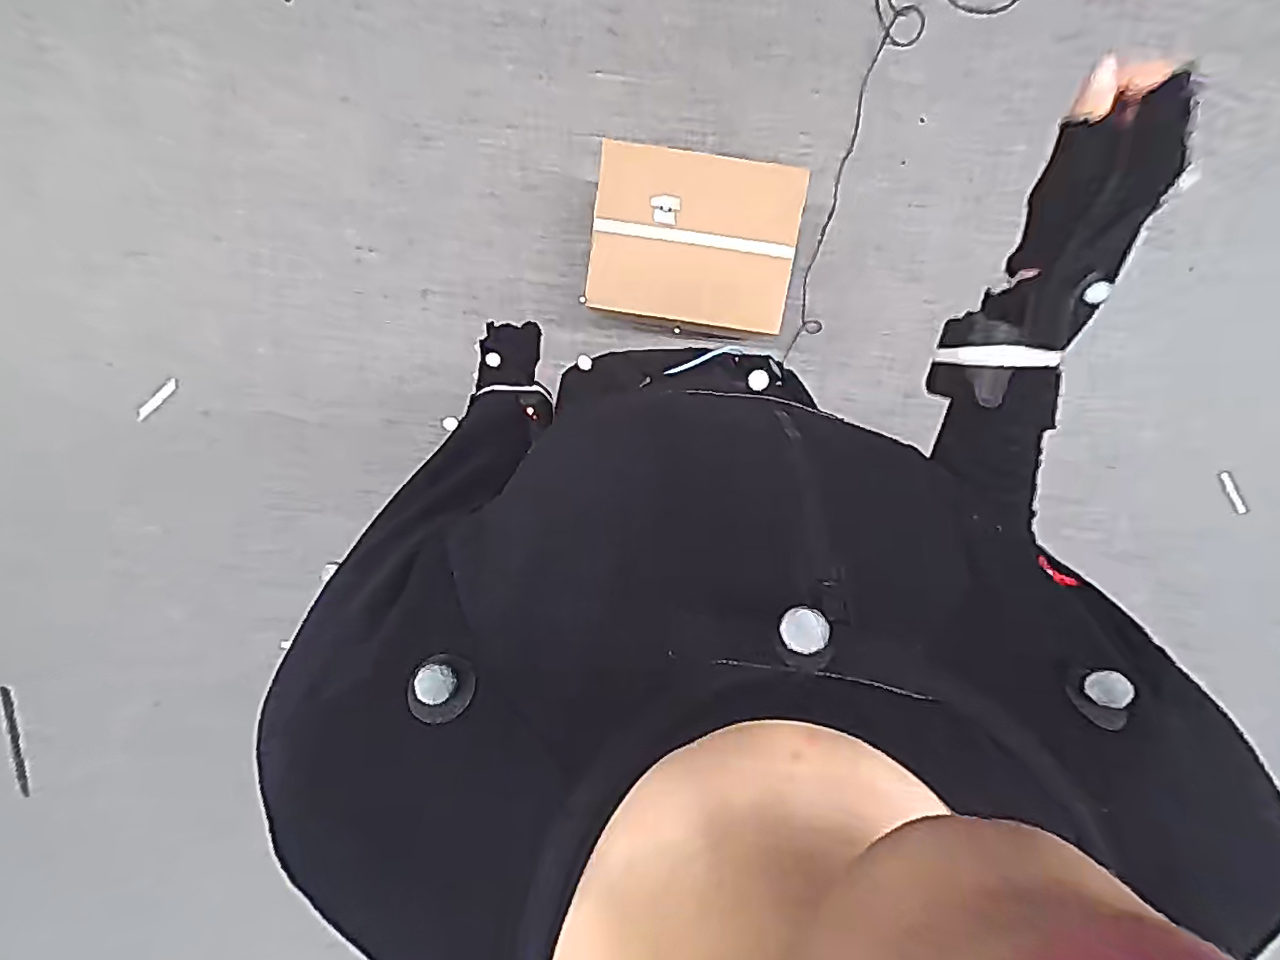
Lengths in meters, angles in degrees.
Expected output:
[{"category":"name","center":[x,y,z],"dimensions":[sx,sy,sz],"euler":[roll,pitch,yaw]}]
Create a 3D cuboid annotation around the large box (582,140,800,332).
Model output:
[{"category":"large box","center":[0.100,-0.519,1.222],"dimensions":[0.408,0.320,0.320],"euler":[8,102,-1]}]
